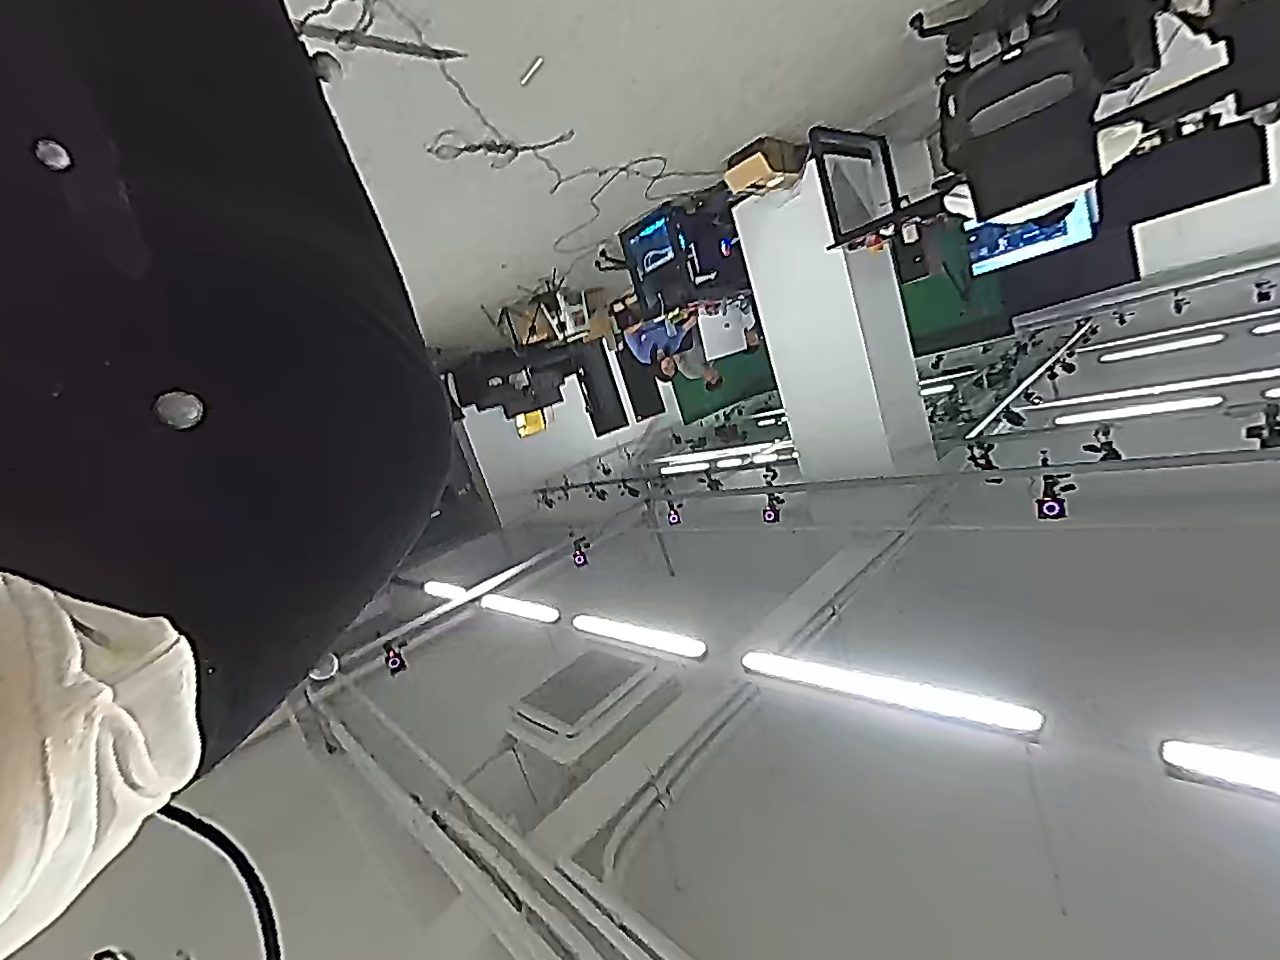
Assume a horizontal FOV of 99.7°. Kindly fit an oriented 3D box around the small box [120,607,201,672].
[{"bbox_3d":[-1.766,0.578,1.989,0.179,0.176,0.168,-9,-165,41],"label":"small box"}]
